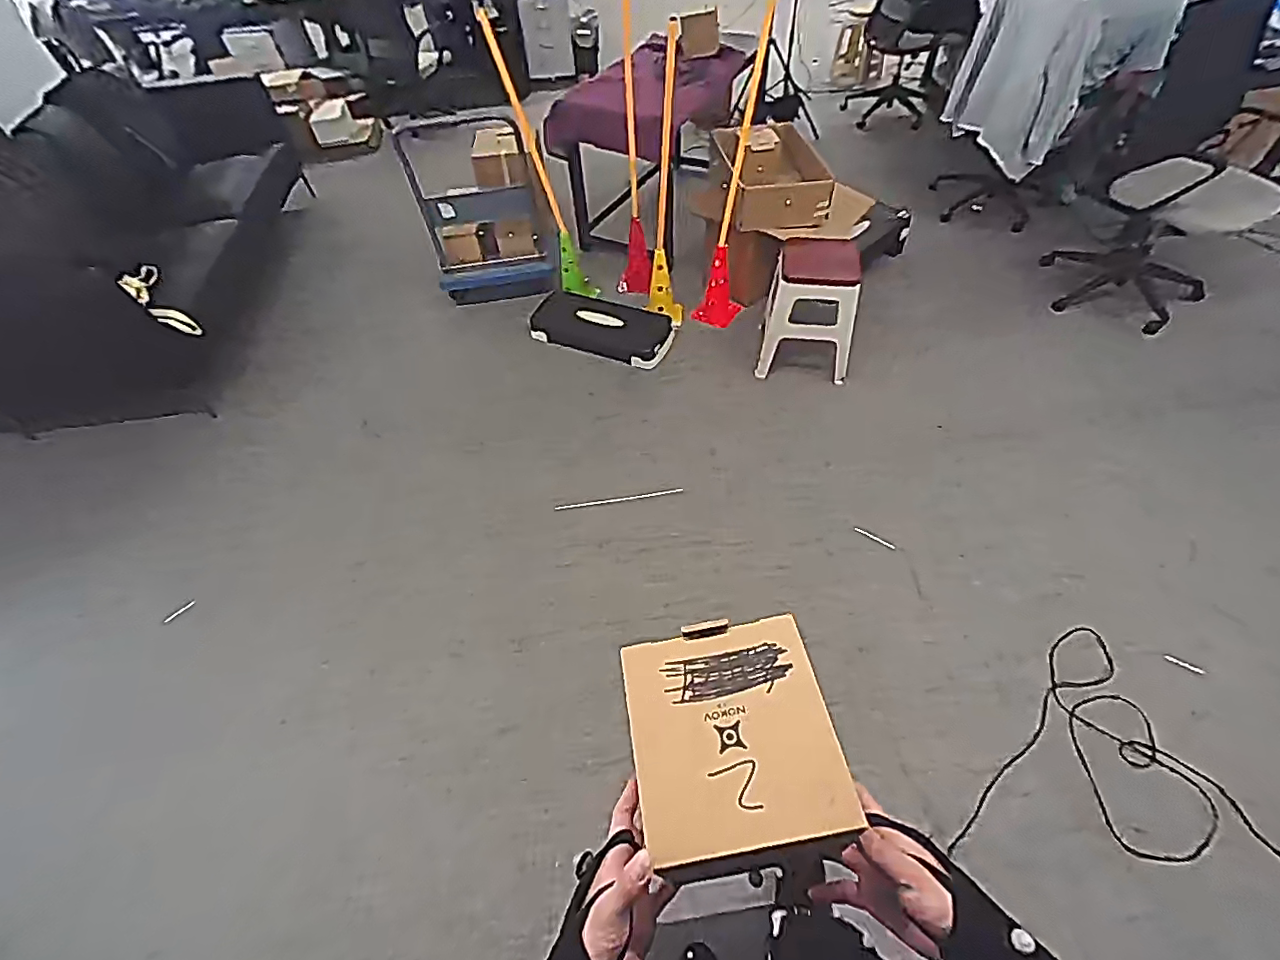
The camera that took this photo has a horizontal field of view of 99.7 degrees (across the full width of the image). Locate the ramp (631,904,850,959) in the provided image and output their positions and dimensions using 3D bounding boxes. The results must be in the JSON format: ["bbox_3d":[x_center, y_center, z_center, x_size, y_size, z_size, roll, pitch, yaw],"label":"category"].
[{"bbox_3d":[0.274,1.364,0.899,0.509,0.206,0.991,-11,52,-2],"label":"ramp"}]
